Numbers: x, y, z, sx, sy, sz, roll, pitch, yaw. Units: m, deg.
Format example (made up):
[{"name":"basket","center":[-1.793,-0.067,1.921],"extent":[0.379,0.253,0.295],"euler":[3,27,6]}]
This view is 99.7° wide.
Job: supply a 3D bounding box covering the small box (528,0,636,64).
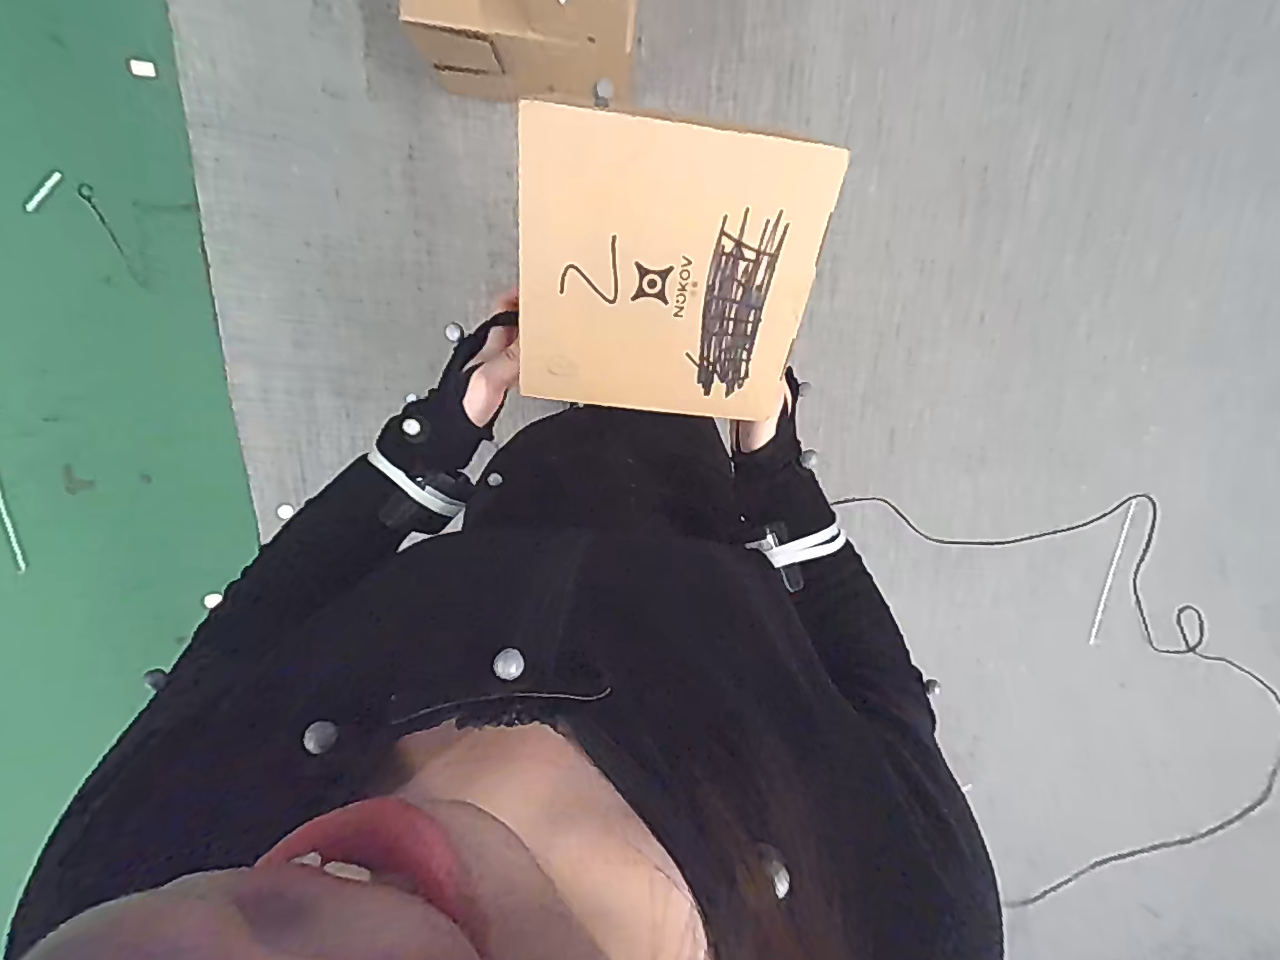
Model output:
[{"name":"small box","center":[-0.087,-0.811,0.854],"extent":[0.168,0.176,0.179],"euler":[7,104,-5]}]
